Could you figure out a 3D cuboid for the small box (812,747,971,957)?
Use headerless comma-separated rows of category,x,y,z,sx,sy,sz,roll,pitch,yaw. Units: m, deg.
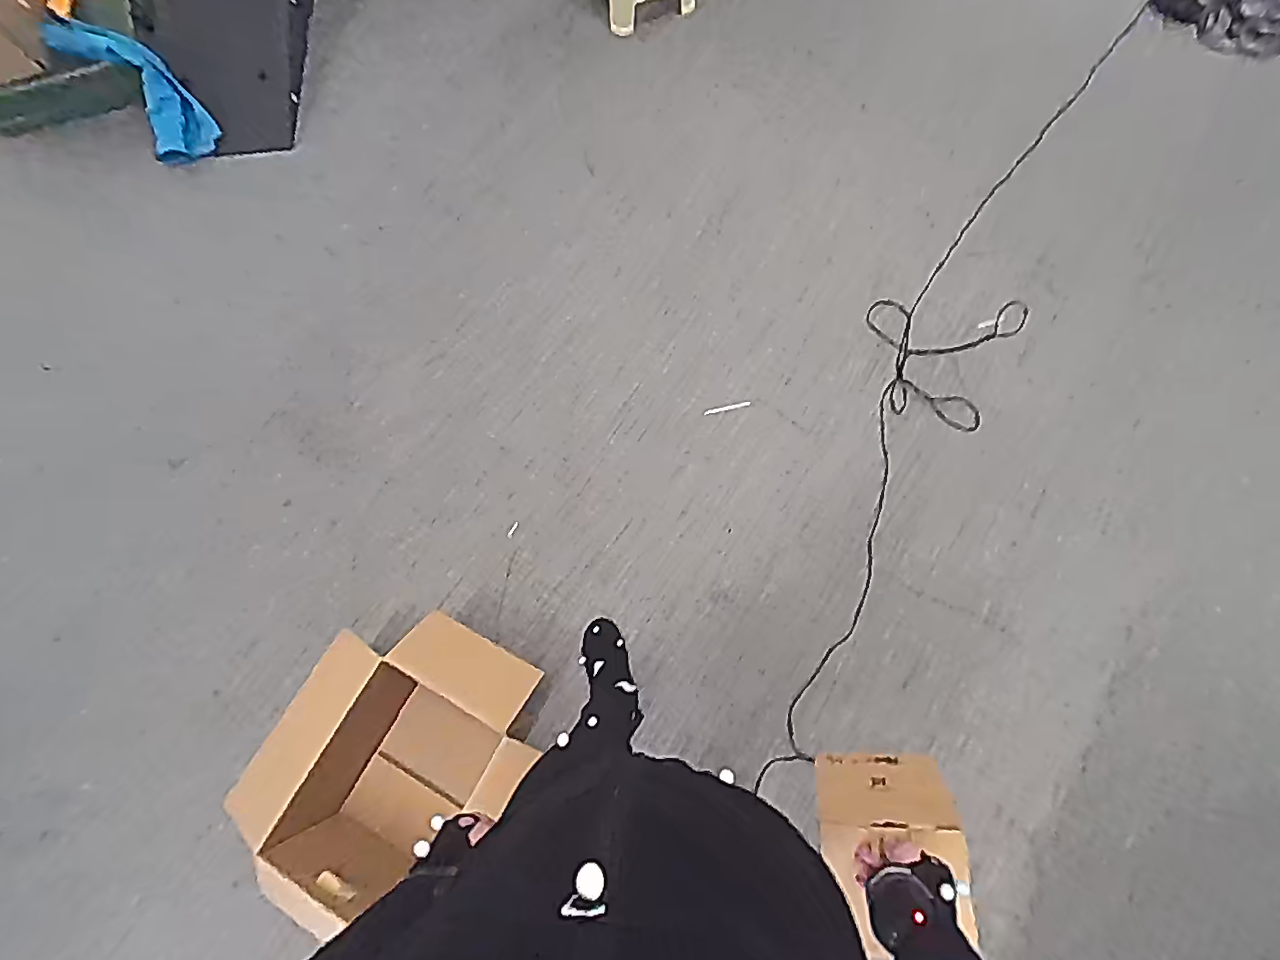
small box,0.329,0.489,0.734,0.168,0.179,0.176,-6,89,17
